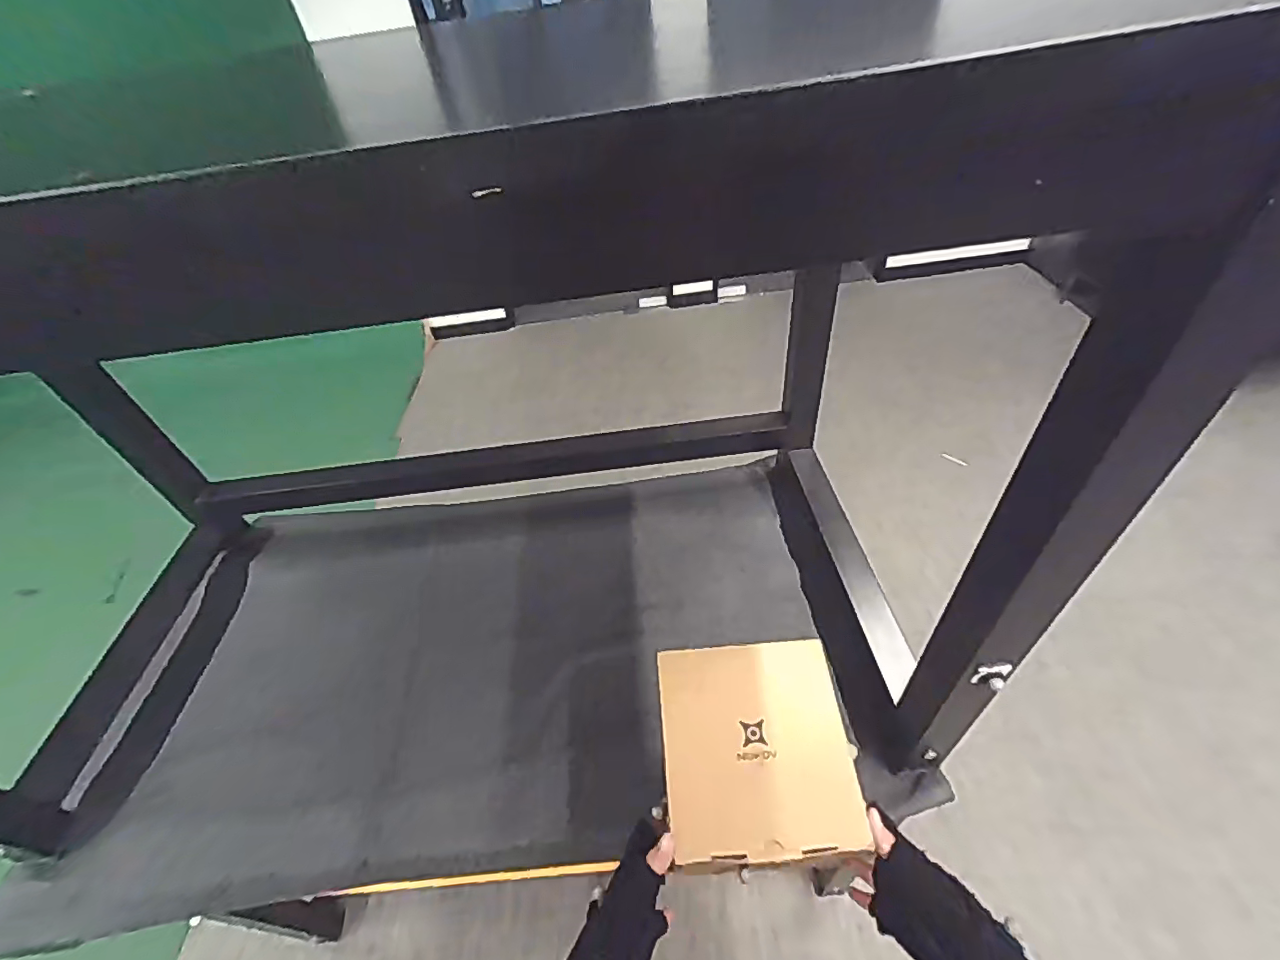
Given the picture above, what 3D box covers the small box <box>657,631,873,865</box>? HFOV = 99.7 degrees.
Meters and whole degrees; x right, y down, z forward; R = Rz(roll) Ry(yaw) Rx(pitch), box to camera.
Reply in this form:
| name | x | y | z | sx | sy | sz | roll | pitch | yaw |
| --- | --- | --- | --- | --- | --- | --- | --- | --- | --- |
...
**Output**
| name | x | y | z | sx | sy | sz | roll | pitch | yaw |
| --- | --- | --- | --- | --- | --- | --- | --- | --- | --- |
| small box | 0.104 | 0.271 | 0.542 | 0.168 | 0.176 | 0.179 | -5 | 52 | 0 |
